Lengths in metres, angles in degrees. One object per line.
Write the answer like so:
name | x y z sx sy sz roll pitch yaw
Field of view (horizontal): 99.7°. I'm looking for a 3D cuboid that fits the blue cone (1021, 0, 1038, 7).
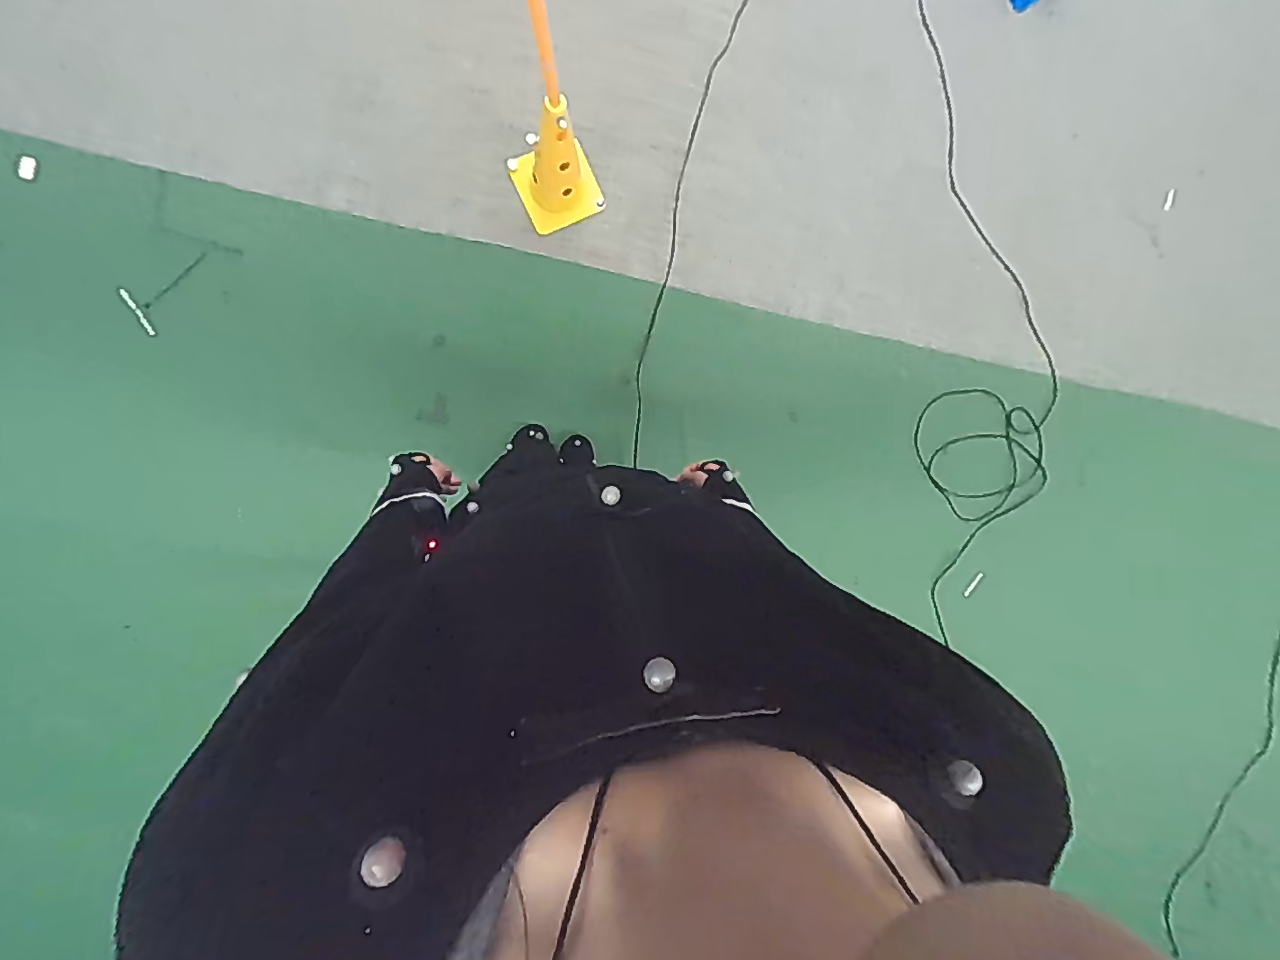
blue cone | 1.157 -1.466 1.380 0.193 0.380 0.192 -35 98 -7
